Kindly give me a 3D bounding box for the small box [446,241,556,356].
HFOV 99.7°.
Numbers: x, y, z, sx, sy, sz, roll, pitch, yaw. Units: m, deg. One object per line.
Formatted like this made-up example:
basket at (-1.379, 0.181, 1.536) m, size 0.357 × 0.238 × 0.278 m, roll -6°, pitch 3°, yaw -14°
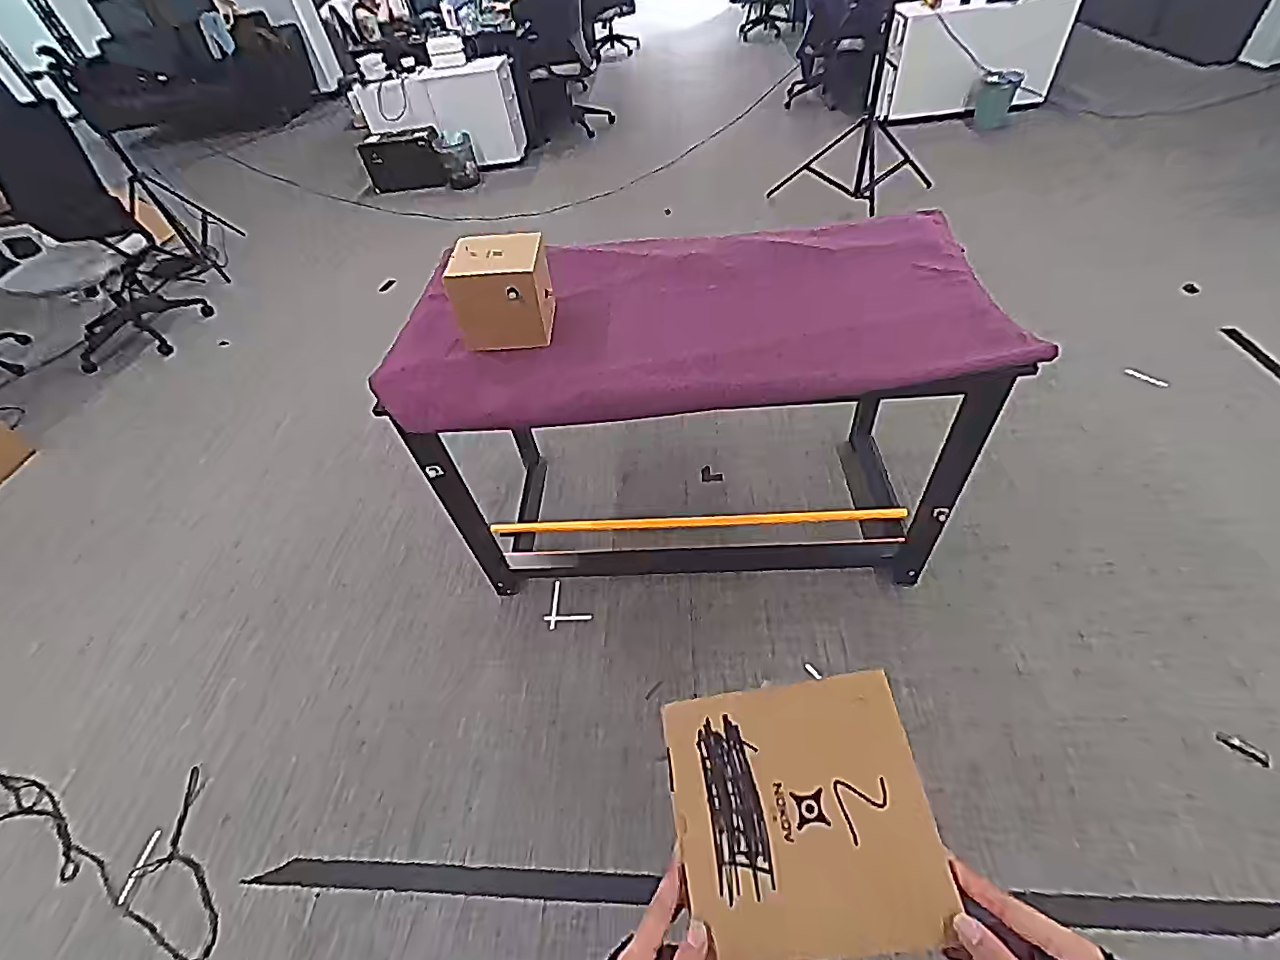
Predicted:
small box at (-0.277, -0.376, 1.130) m, size 0.179 × 0.176 × 0.168 m, roll -3°, pitch 47°, yaw 2°
